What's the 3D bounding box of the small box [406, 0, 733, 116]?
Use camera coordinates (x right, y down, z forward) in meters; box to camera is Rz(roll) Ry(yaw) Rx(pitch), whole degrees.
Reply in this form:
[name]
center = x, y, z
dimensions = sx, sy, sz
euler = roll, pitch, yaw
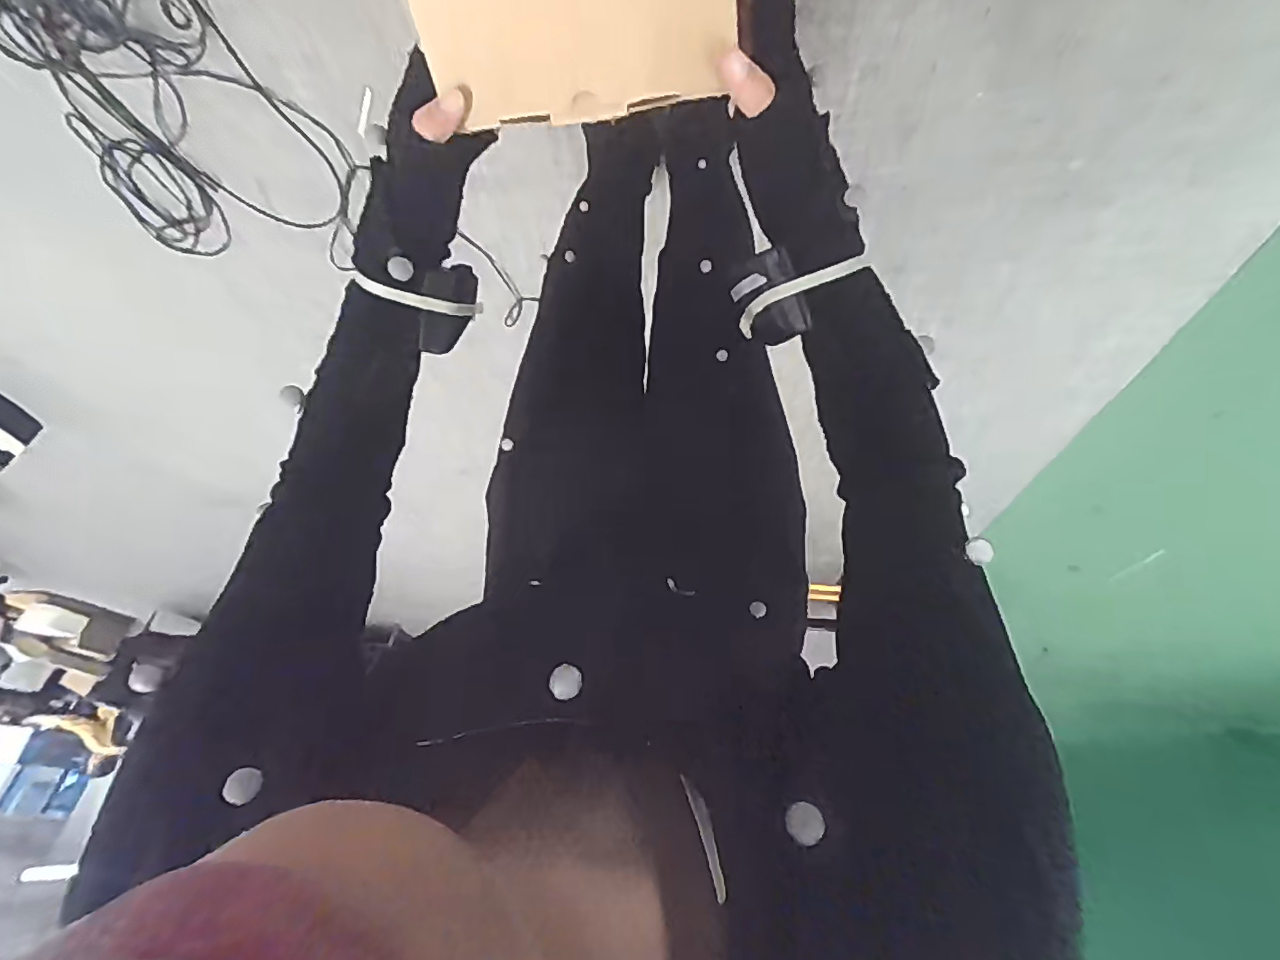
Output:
[small box]
center = -0.036, -0.329, 0.296
dimensions = 0.168, 0.176, 0.179
euler = -2, 135, 10
